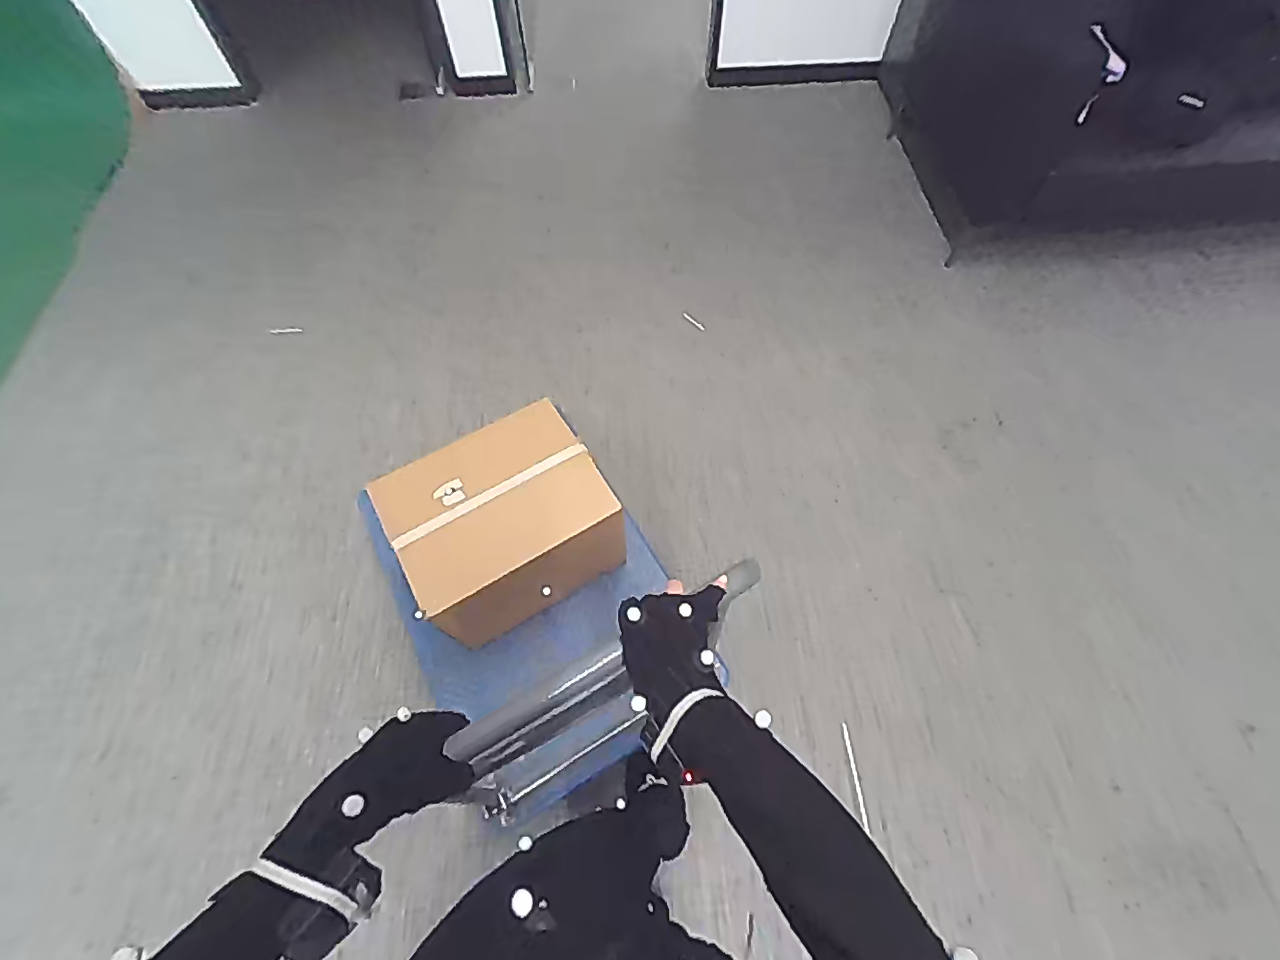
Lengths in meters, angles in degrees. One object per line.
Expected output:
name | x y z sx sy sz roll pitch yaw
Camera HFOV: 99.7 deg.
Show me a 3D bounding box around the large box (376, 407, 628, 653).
large box | -0.273 0.118 1.186 0.408 0.320 0.320 -30 66 -14
